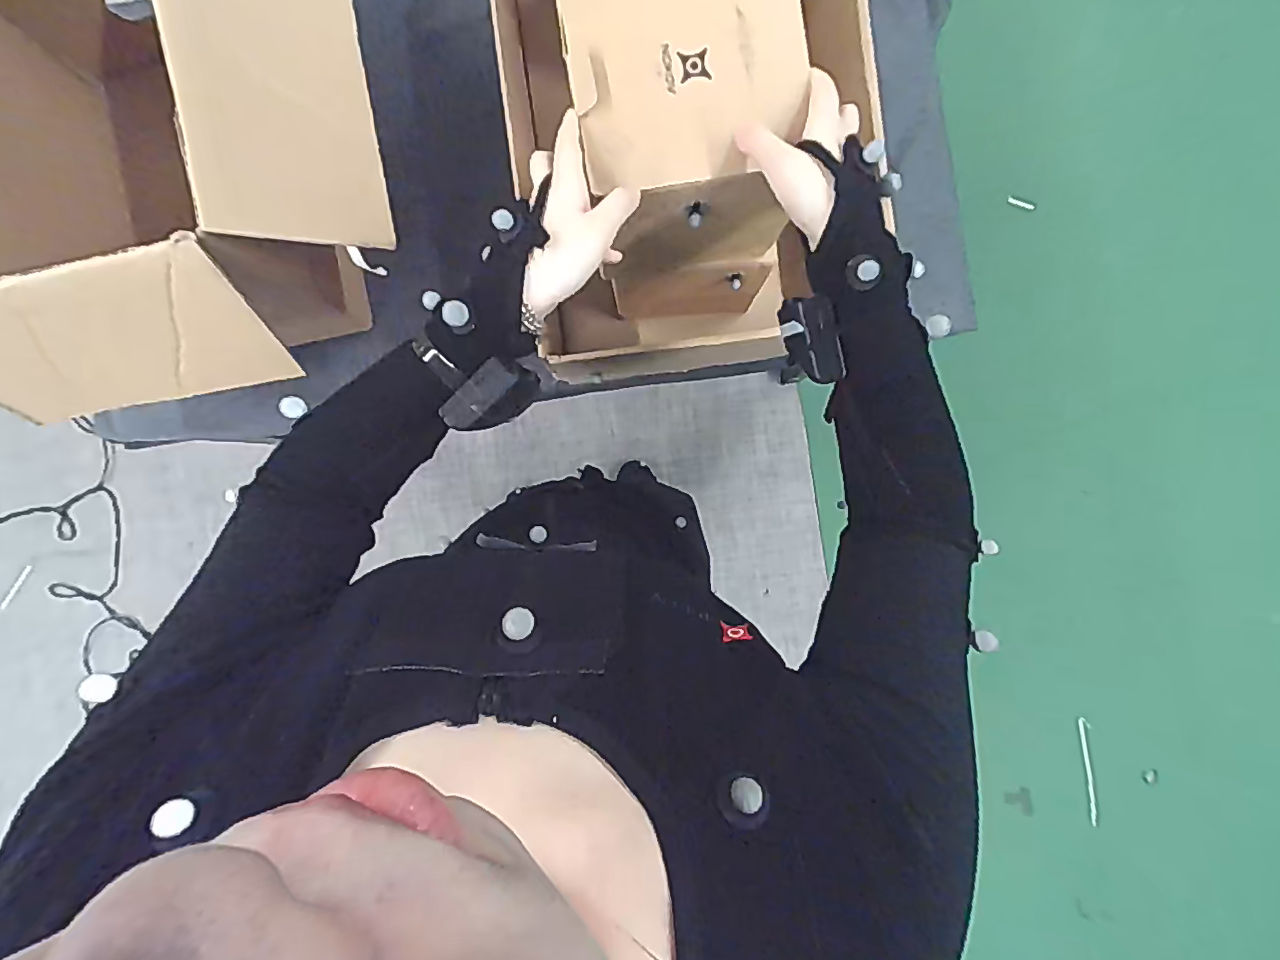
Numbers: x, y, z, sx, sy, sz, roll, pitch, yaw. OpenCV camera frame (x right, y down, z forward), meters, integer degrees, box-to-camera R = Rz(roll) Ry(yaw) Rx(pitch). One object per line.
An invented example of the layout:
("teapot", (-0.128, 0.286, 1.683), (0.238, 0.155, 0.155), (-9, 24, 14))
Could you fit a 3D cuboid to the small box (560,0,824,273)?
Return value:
("small box", (0.038, -0.299, 0.476), (0.179, 0.176, 0.168), (-10, 93, -2))
